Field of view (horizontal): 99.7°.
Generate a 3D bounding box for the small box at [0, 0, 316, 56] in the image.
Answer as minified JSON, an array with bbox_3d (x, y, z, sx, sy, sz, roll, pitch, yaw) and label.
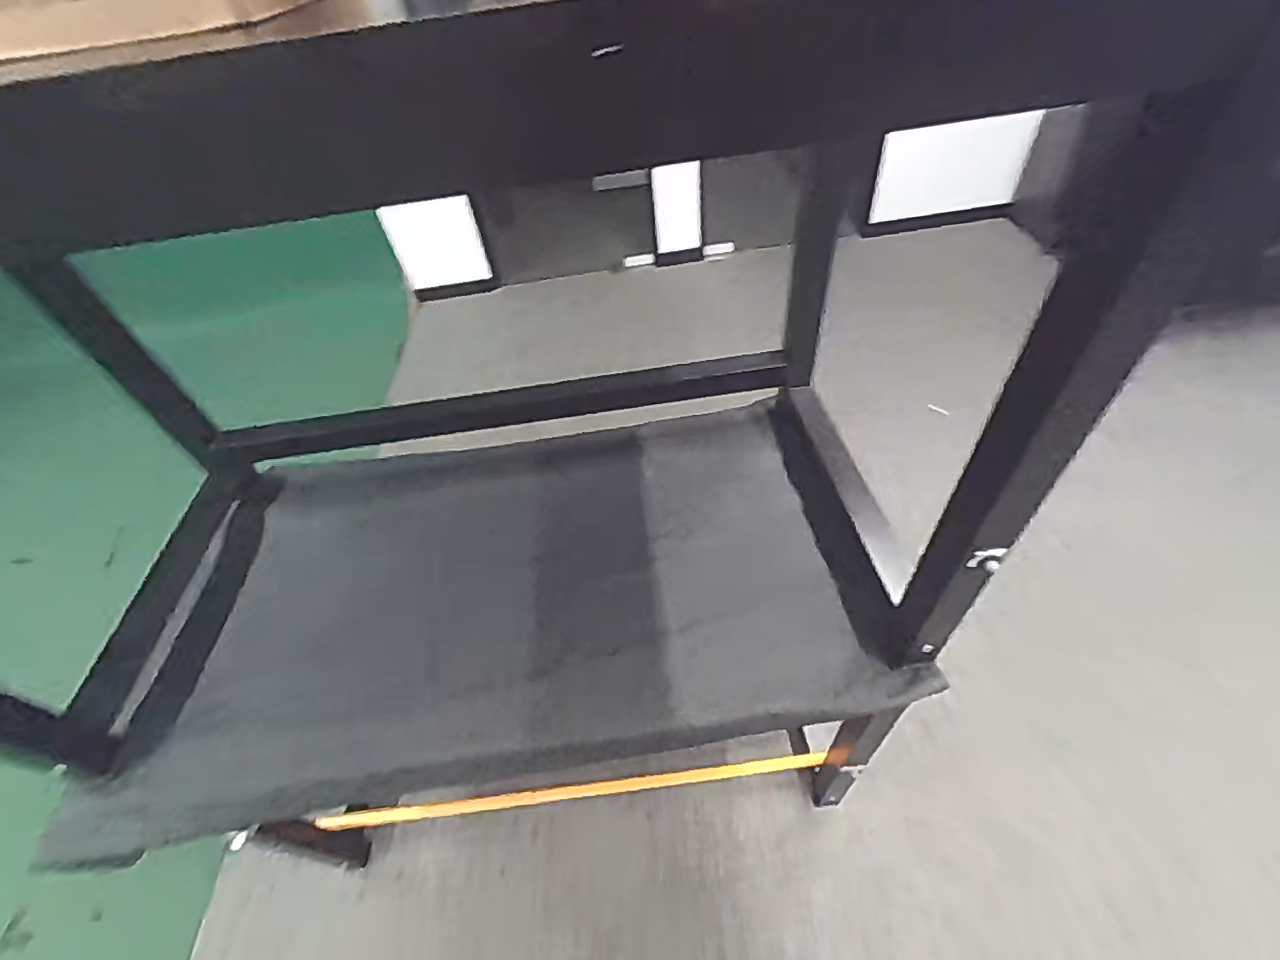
[{"bbox_3d":[-0.258,-0.305,0.235,0.168,0.176,0.179,-7,48,1],"label":"small box"}]
